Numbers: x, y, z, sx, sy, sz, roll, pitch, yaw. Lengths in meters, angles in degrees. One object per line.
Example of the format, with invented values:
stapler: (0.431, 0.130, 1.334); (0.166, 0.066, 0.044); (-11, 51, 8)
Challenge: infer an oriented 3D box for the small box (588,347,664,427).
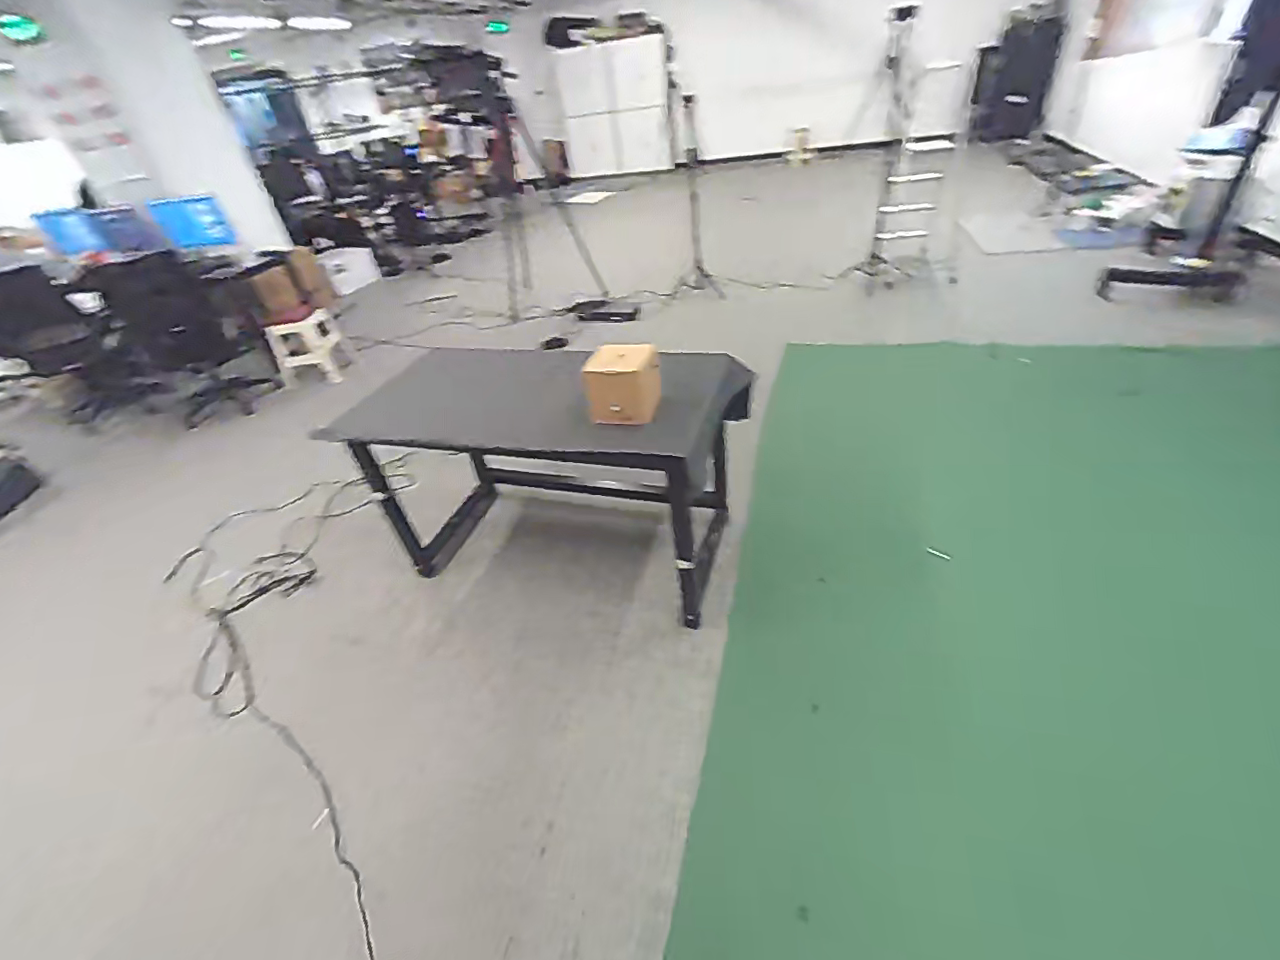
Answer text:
small box: (-0.032, -0.269, 1.561); (0.168, 0.176, 0.179); (3, 38, 18)
